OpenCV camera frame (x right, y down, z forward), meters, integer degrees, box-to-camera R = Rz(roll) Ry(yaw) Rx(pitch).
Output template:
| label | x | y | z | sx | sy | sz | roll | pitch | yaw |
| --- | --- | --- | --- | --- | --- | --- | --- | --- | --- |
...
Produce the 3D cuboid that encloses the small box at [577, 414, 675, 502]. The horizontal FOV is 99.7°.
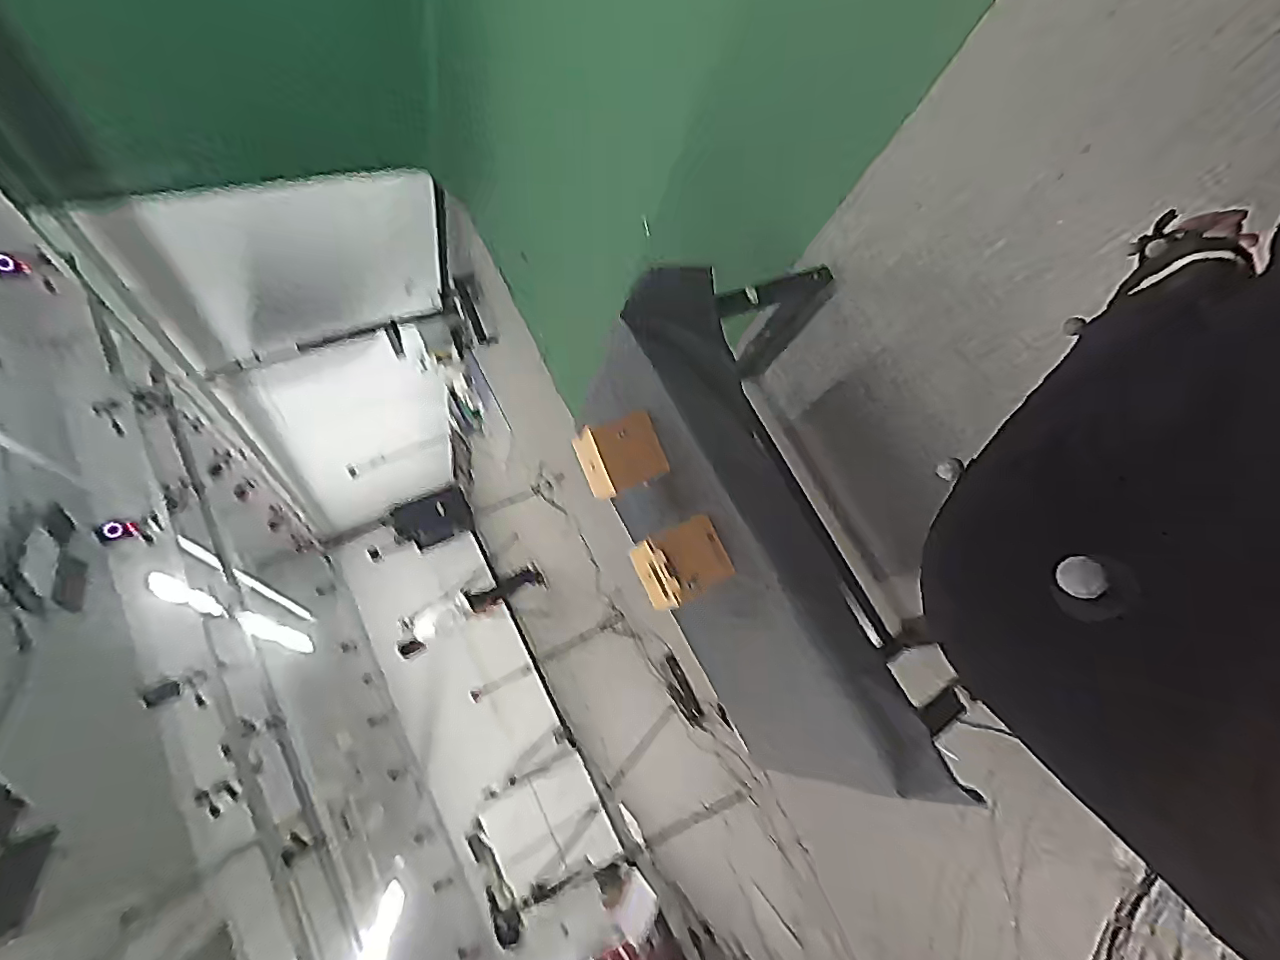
| label | x | y | z | sx | sy | sz | roll | pitch | yaw |
| --- | --- | --- | --- | --- | --- | --- | --- | --- | --- |
| small box | -0.038 | -0.061 | 1.417 | 0.179 | 0.176 | 0.168 | 66 | 157 | -1 |
